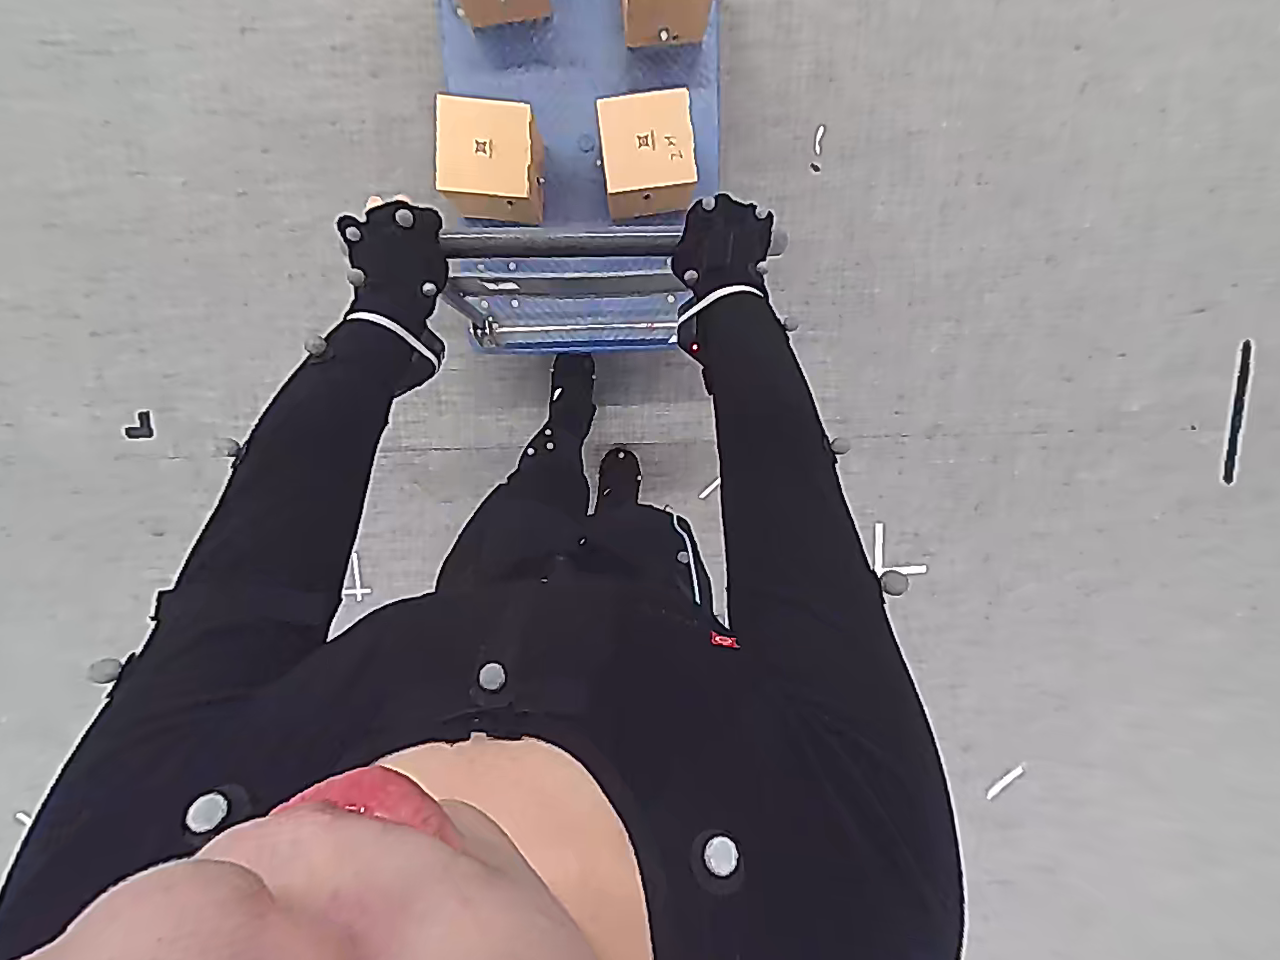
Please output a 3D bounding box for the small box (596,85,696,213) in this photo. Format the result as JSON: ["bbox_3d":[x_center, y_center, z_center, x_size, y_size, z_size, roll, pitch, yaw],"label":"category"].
[{"bbox_3d":[0.011,-0.658,1.096,0.179,0.176,0.168,-7,101,0],"label":"small box"}]

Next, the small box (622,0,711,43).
[{"bbox_3d":[0.047,-0.990,1.036,0.168,0.176,0.179,-5,102,-1],"label":"small box"}]

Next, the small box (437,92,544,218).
[{"bbox_3d":[-0.295,-0.643,1.091,0.179,0.176,0.168,3,100,-4],"label":"small box"}]
